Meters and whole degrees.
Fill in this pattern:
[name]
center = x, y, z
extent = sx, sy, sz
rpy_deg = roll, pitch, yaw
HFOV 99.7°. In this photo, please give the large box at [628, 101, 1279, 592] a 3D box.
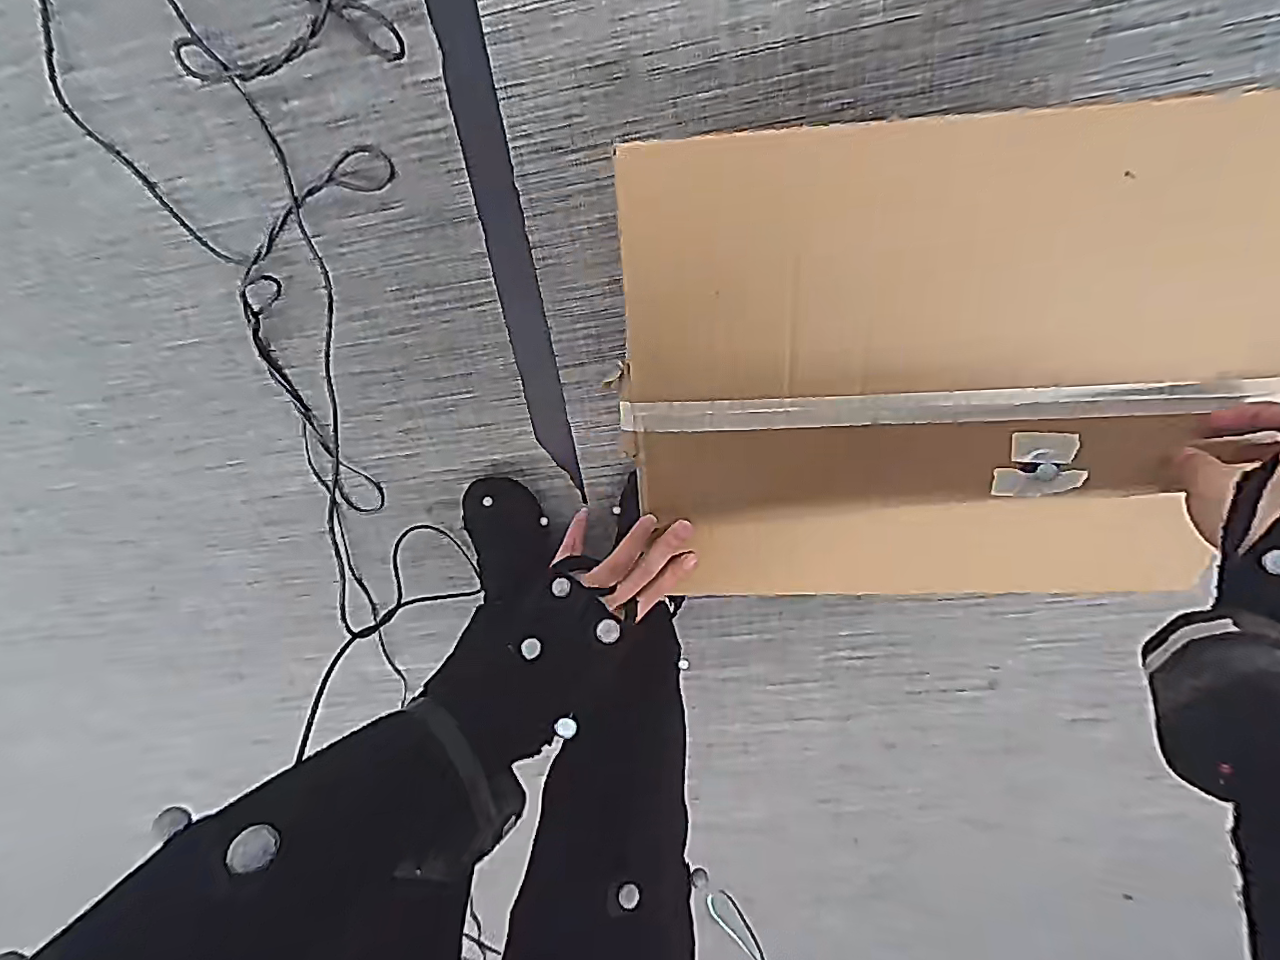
[large box]
center = 0.207, -0.119, 0.491
extent = 0.408, 0.320, 0.320
rpy_deg = -2, 118, 4
